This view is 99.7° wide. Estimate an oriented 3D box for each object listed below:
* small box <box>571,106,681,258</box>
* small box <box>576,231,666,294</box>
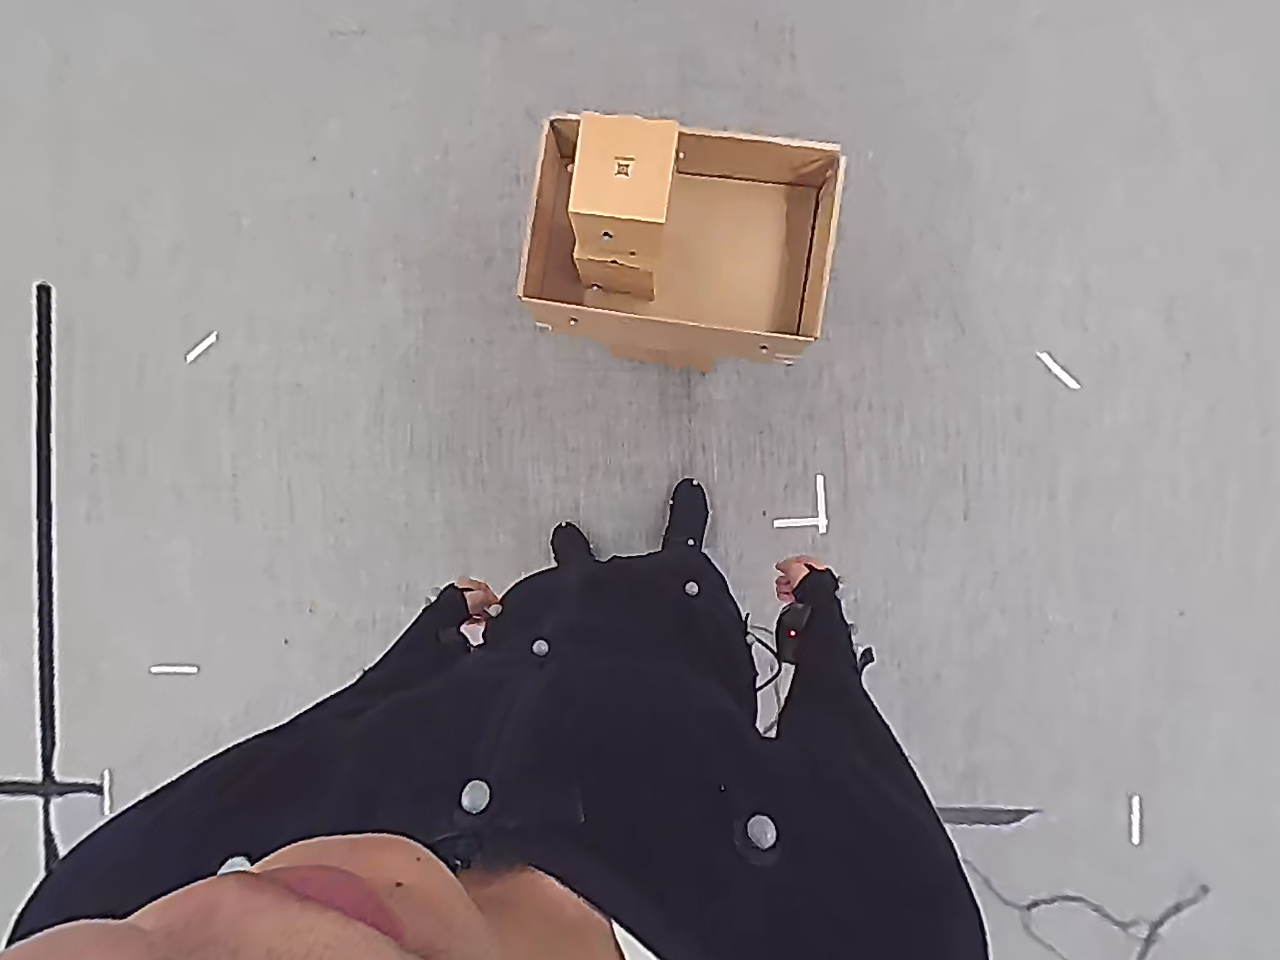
[{"bbox_3d":[-0.020,-0.524,0.975,0.168,0.176,0.179,8,89,2],"label":"small box"},{"bbox_3d":[-0.027,-0.513,1.138,0.168,0.176,0.179,12,89,2],"label":"small box"}]
